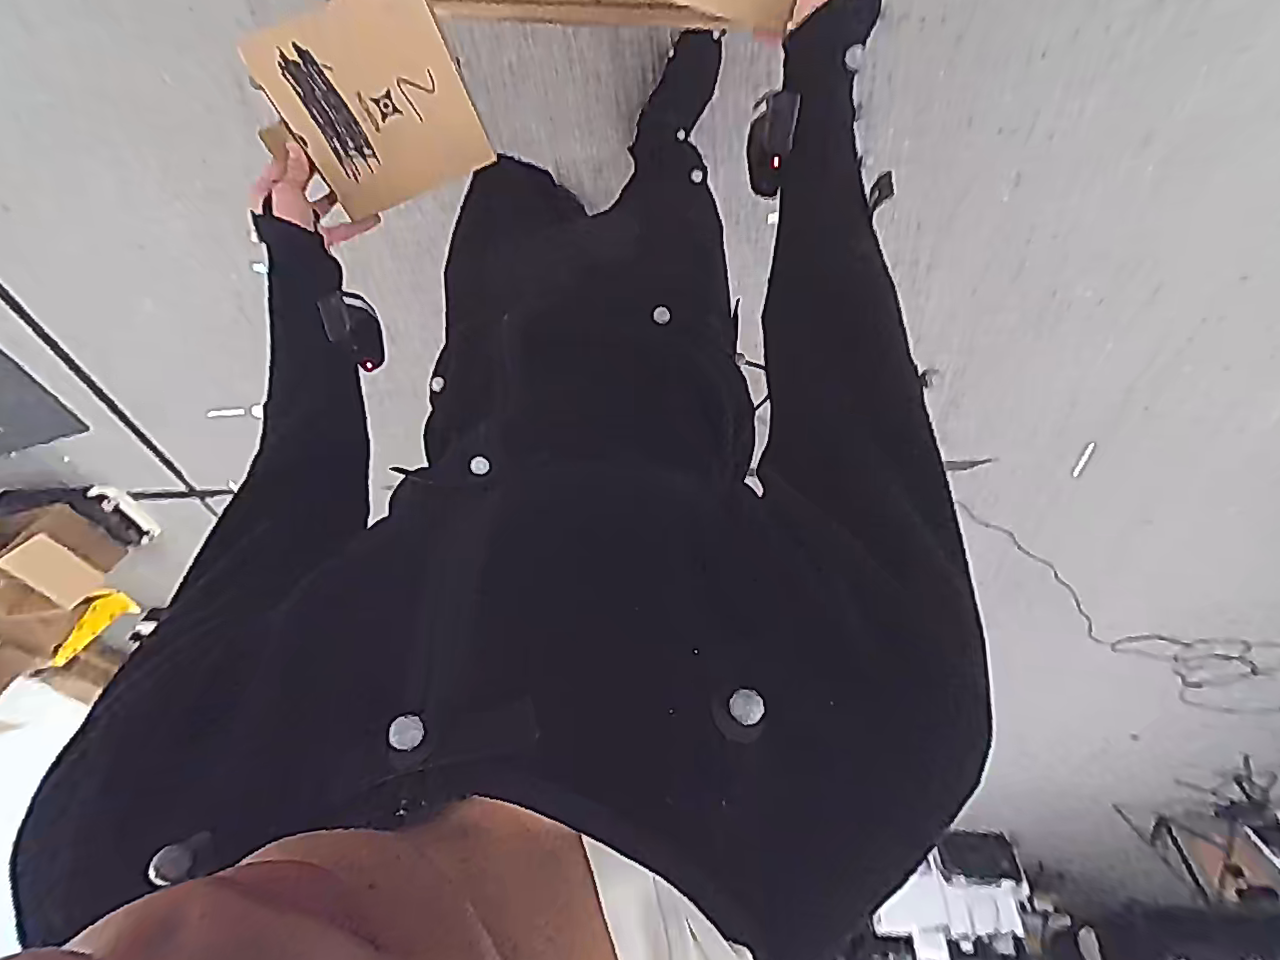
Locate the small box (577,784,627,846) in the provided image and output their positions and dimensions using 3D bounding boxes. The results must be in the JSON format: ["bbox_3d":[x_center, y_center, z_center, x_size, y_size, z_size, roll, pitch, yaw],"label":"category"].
[{"bbox_3d":[-0.144,1.302,2.104,0.168,0.176,0.179,-1,134,6],"label":"small box"}]
